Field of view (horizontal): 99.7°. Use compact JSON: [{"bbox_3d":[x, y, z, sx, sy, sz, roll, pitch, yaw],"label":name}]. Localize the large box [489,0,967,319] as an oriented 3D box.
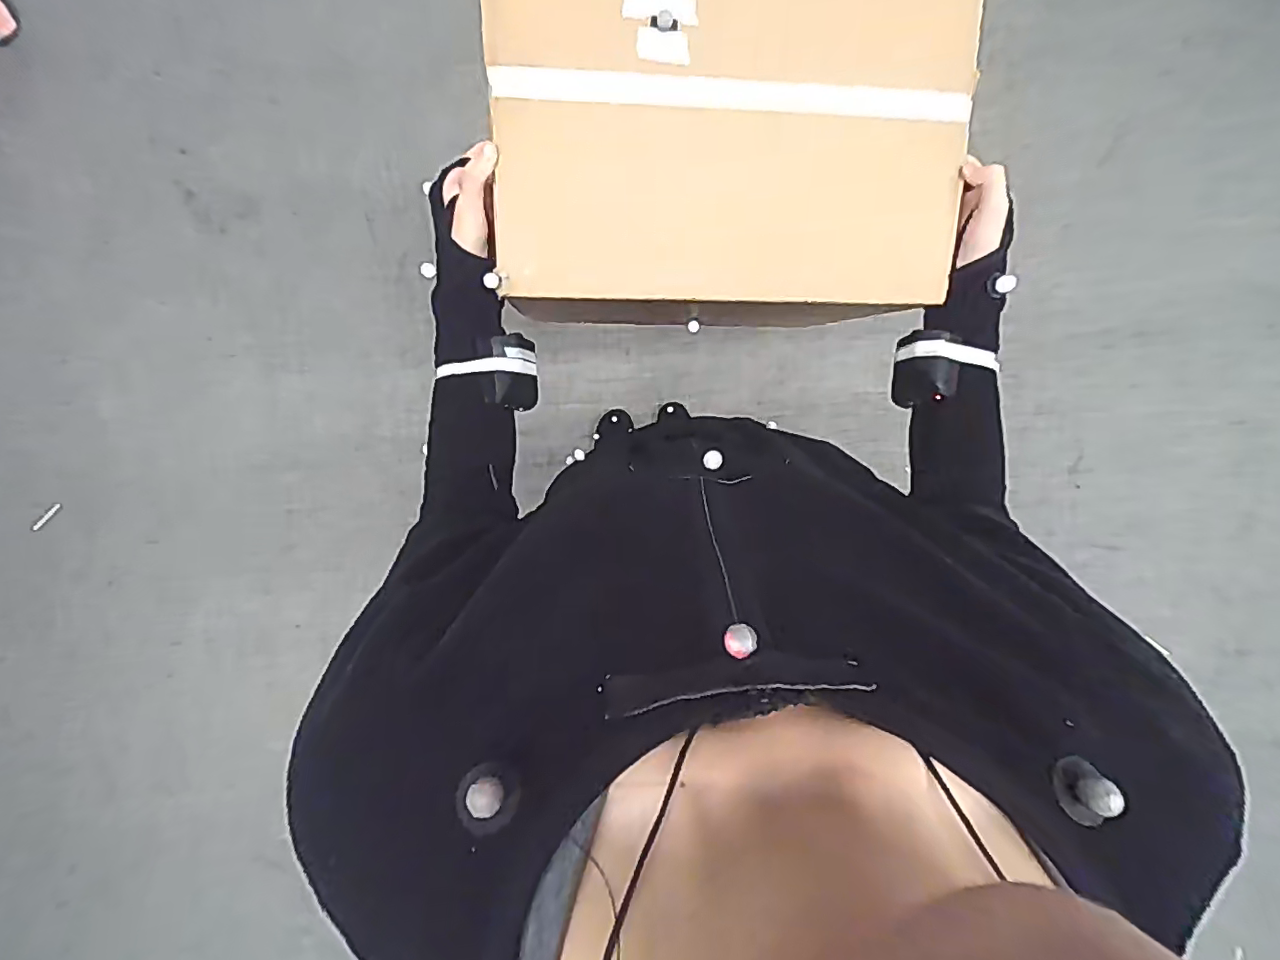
[{"bbox_3d":[0.066,-0.346,0.603,0.408,0.320,0.320,-1,102,-5],"label":"large box"}]
